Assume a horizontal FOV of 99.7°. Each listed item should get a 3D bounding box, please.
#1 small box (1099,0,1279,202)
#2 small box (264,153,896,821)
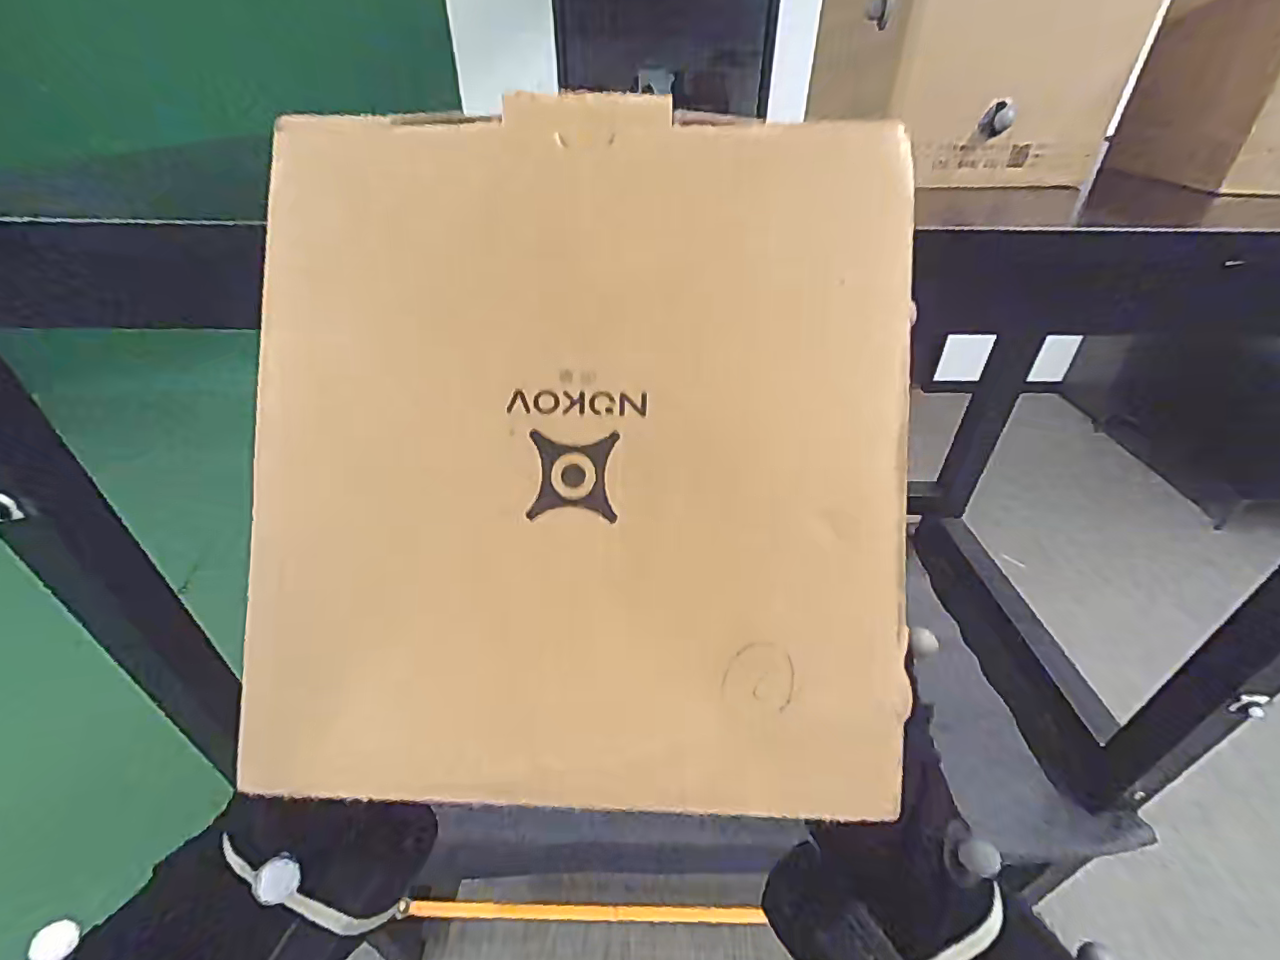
[{"bbox_3d":[0.488,-0.297,0.383,0.168,0.176,0.179,7,36,9],"label":"small box"},{"bbox_3d":[-0.014,0.001,0.224,0.168,0.179,0.176,1,-2,1],"label":"small box"}]
